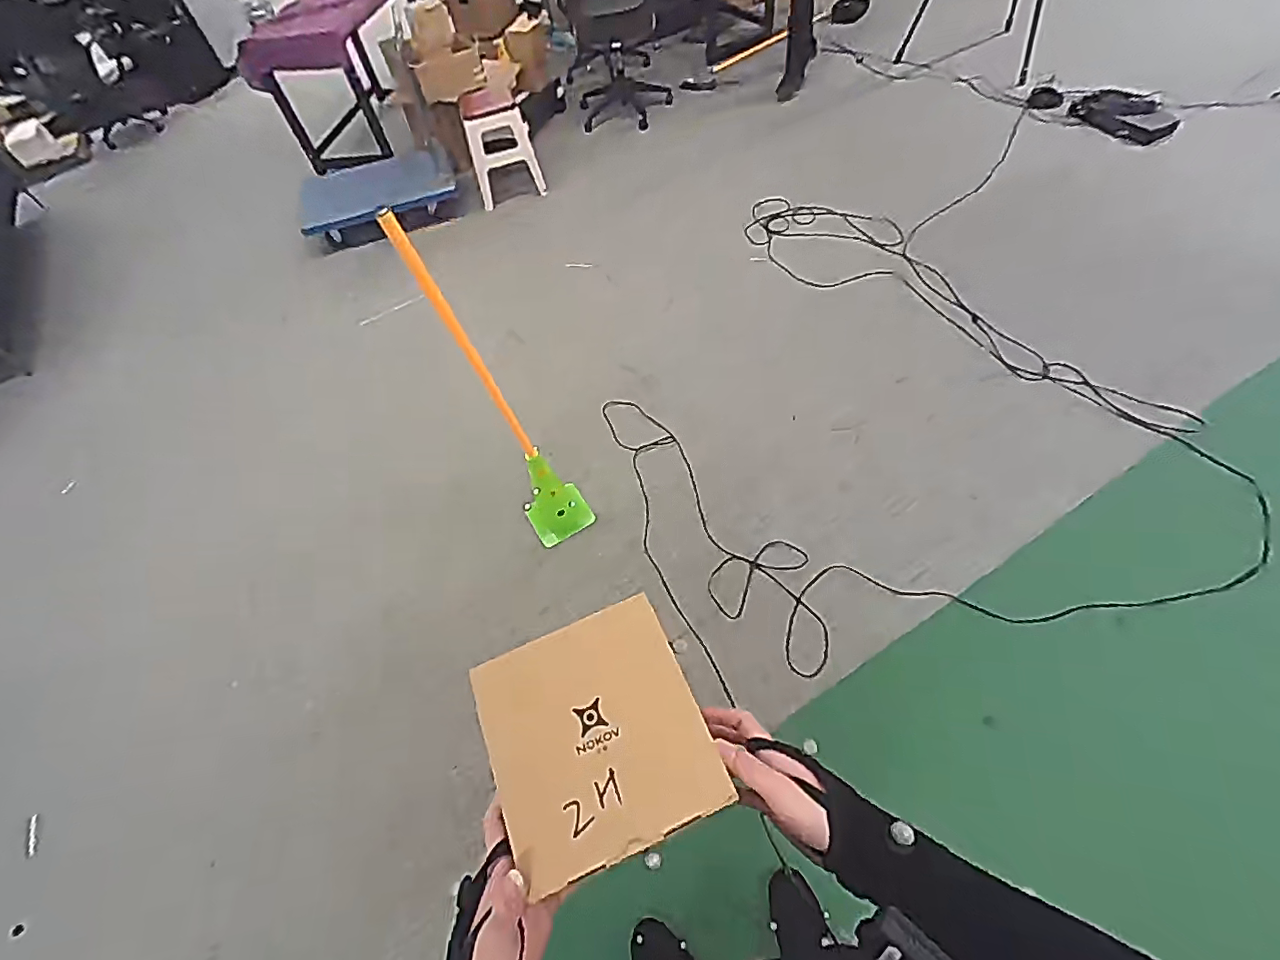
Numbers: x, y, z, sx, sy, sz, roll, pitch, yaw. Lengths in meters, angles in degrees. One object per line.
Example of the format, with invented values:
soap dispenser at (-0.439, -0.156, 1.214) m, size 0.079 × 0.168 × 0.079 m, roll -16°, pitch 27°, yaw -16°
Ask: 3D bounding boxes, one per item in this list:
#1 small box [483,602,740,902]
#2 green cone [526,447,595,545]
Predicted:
small box at (-0.024, 0.246, 0.498) m, size 0.168 × 0.176 × 0.179 m, roll -22°, pitch 58°, yaw -7°
green cone at (-0.297, 0.019, 1.764) m, size 0.202 × 0.368 × 0.200 m, roll -29°, pitch 58°, yaw -13°
